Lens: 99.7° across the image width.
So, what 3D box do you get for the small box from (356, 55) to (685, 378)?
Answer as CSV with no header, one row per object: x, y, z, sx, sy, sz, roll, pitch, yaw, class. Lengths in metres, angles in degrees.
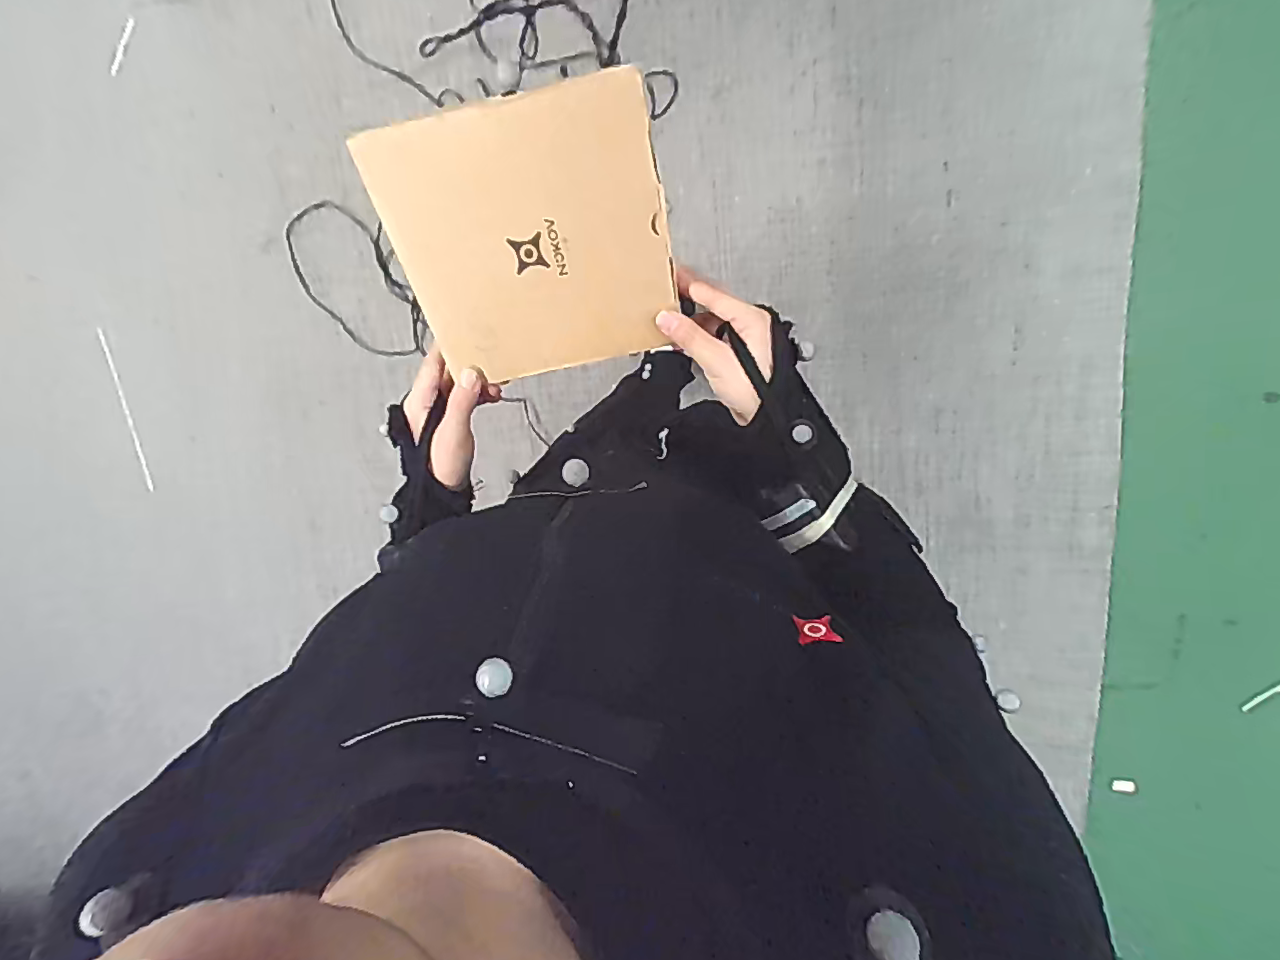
-0.070,-0.201,0.414,0.179,0.176,0.168,-11,126,4,small box
